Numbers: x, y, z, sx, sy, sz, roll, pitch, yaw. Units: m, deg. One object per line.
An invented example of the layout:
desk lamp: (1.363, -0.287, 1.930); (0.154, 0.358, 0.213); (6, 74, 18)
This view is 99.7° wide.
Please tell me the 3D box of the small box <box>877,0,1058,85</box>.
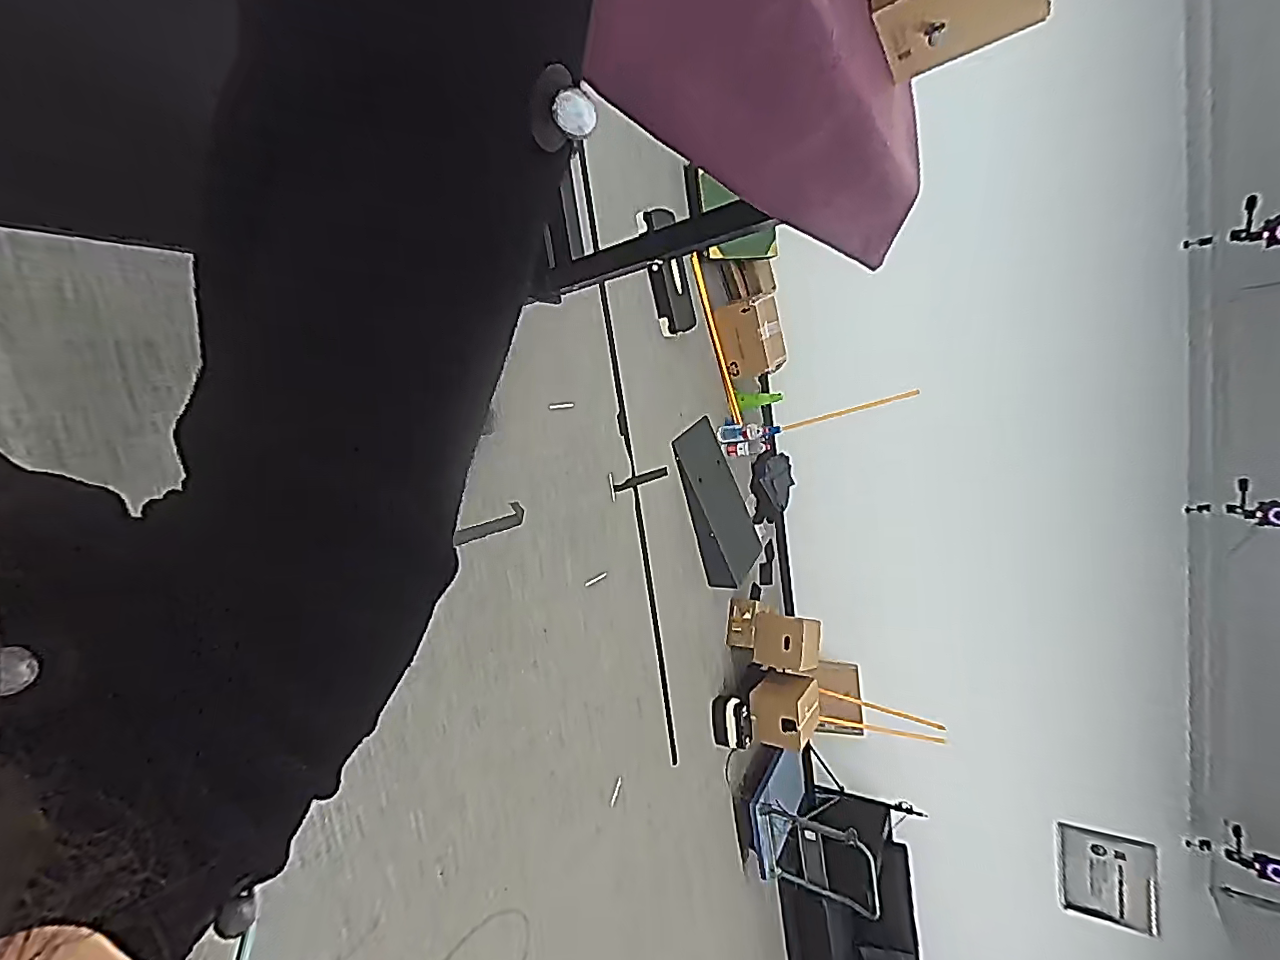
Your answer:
small box: (0.360, -0.601, 0.603); (0.168, 0.176, 0.179); (-12, 97, -55)
